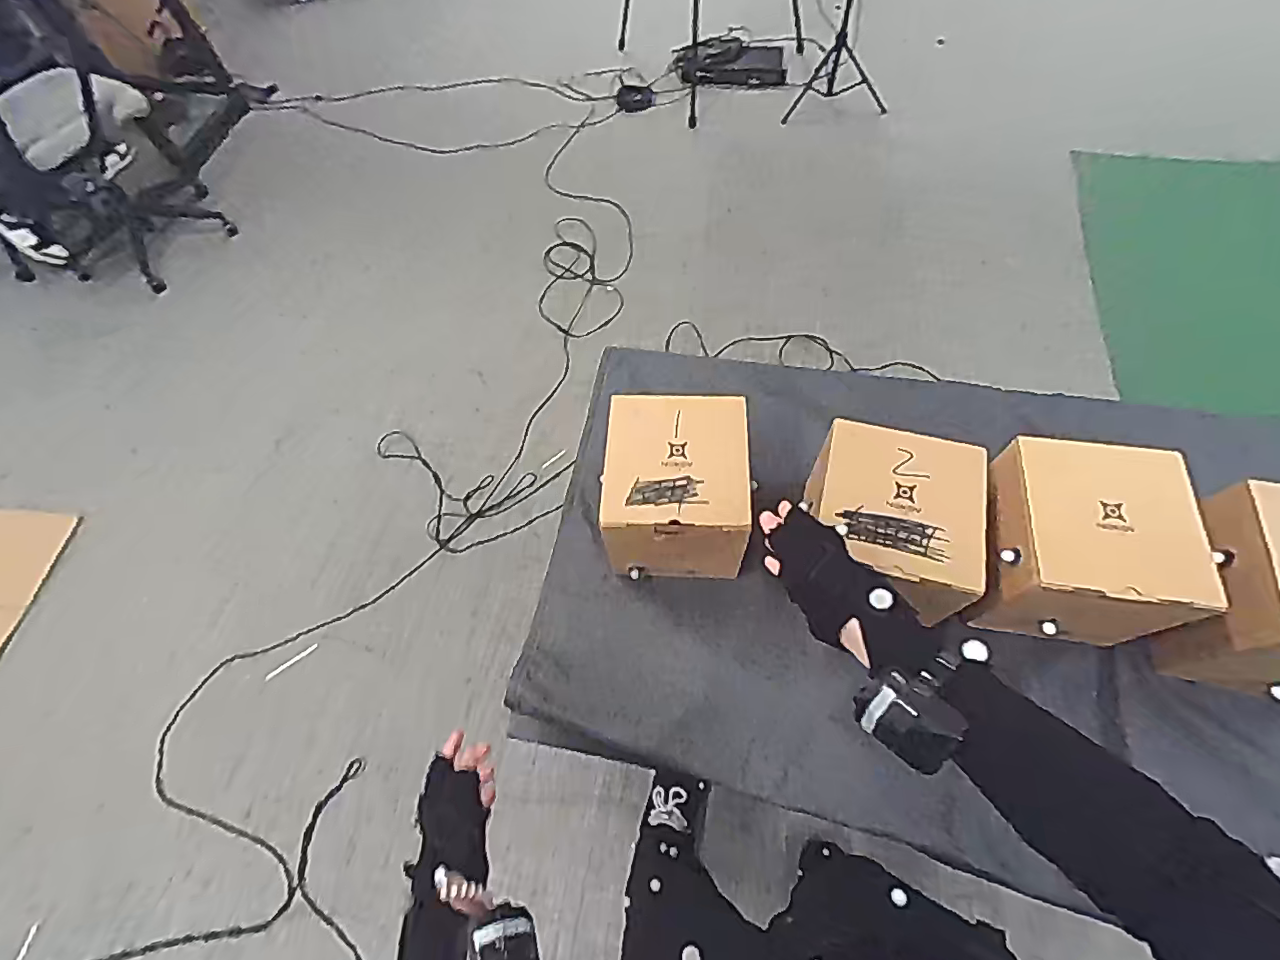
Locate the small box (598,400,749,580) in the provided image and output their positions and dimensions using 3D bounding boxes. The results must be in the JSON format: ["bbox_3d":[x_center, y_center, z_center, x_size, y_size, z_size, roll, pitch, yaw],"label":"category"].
[{"bbox_3d":[0.046,0.019,0.684,0.168,0.176,0.179,1,61,4],"label":"small box"}]
